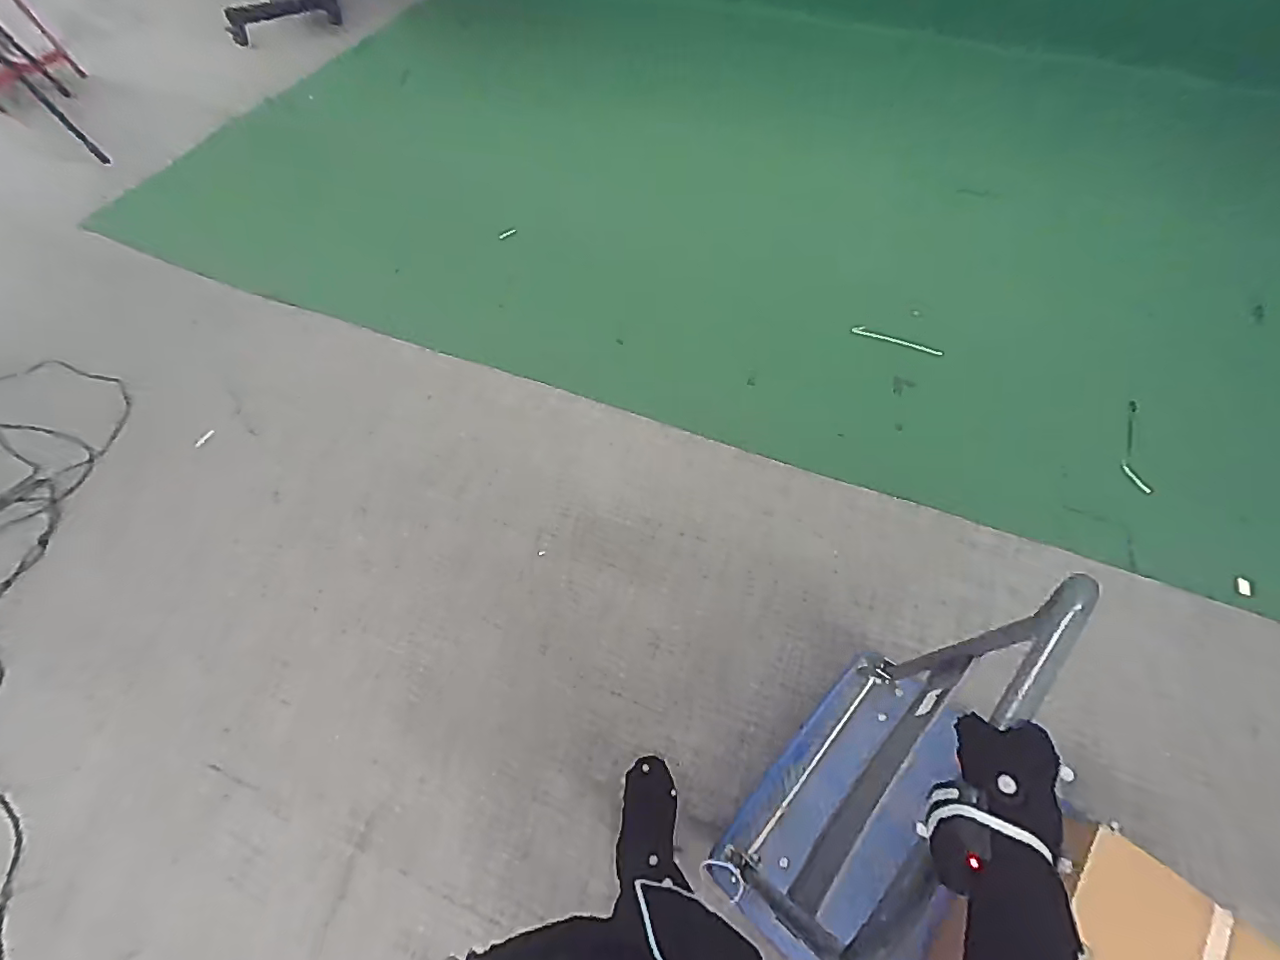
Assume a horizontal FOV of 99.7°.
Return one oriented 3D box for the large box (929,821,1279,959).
[{"bbox_3d":[0.663,0.797,0.799,0.320,0.320,0.408,36,65,19],"label":"large box"}]
